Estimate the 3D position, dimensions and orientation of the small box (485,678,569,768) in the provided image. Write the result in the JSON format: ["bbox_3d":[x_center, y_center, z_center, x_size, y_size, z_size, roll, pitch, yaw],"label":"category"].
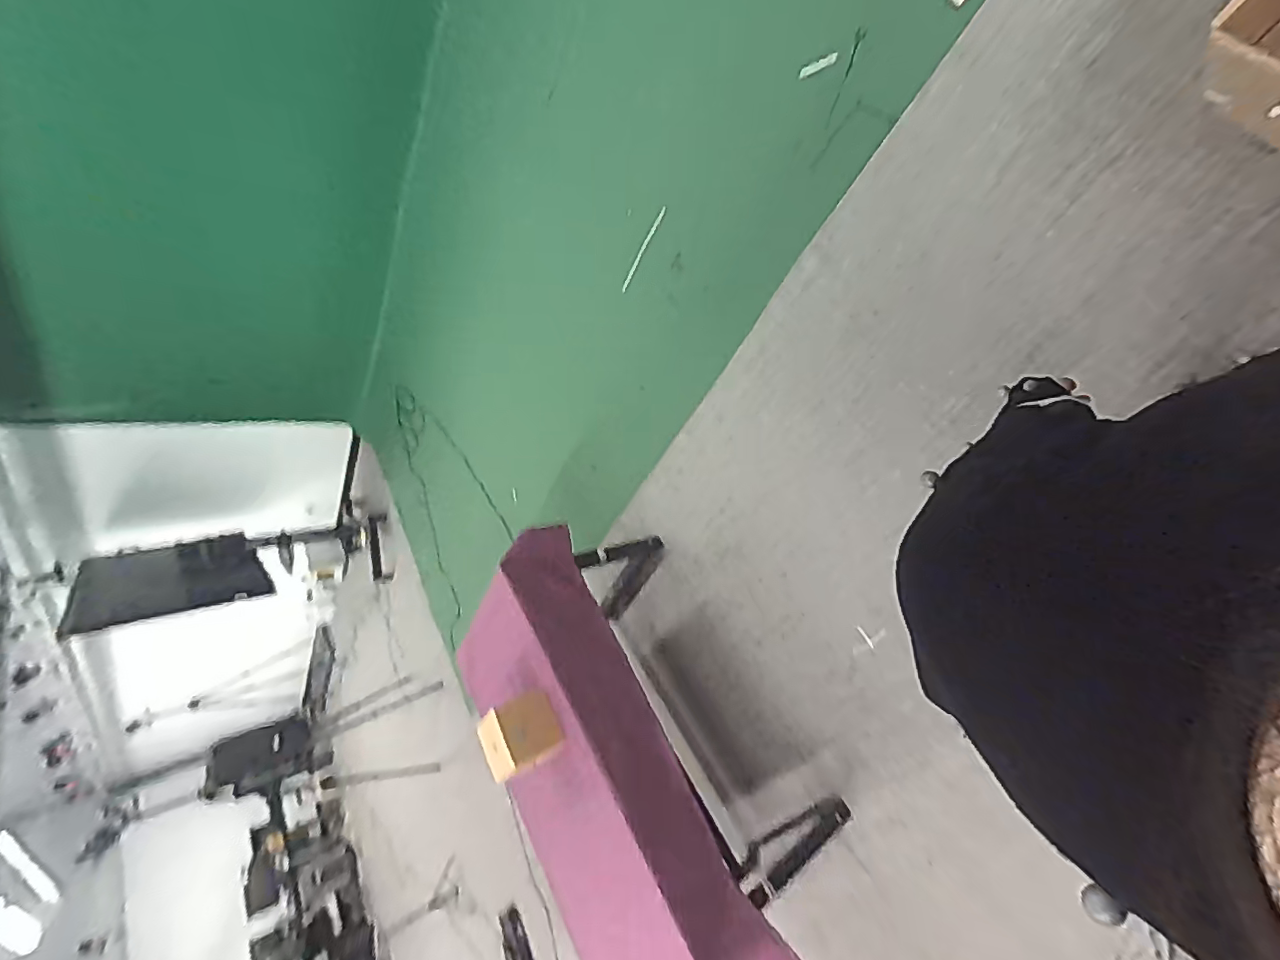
[{"bbox_3d":[-0.337,0.723,1.620,0.168,0.176,0.179,-52,58,39],"label":"small box"}]
